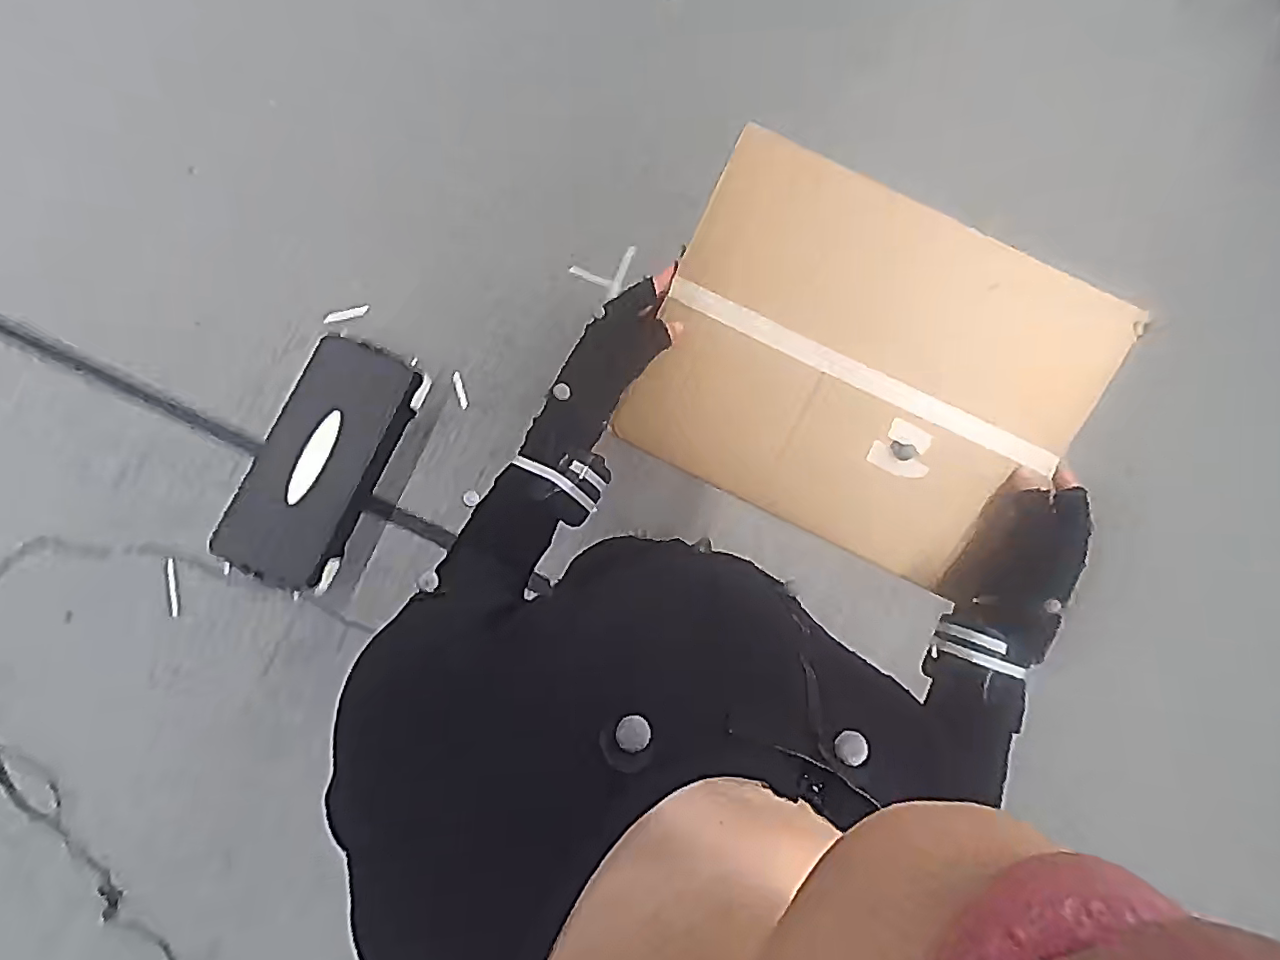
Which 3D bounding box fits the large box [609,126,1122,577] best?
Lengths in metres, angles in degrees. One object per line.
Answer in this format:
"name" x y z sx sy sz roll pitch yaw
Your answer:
"large box" 0.213 -0.137 0.668 0.408 0.320 0.320 24 101 -1
